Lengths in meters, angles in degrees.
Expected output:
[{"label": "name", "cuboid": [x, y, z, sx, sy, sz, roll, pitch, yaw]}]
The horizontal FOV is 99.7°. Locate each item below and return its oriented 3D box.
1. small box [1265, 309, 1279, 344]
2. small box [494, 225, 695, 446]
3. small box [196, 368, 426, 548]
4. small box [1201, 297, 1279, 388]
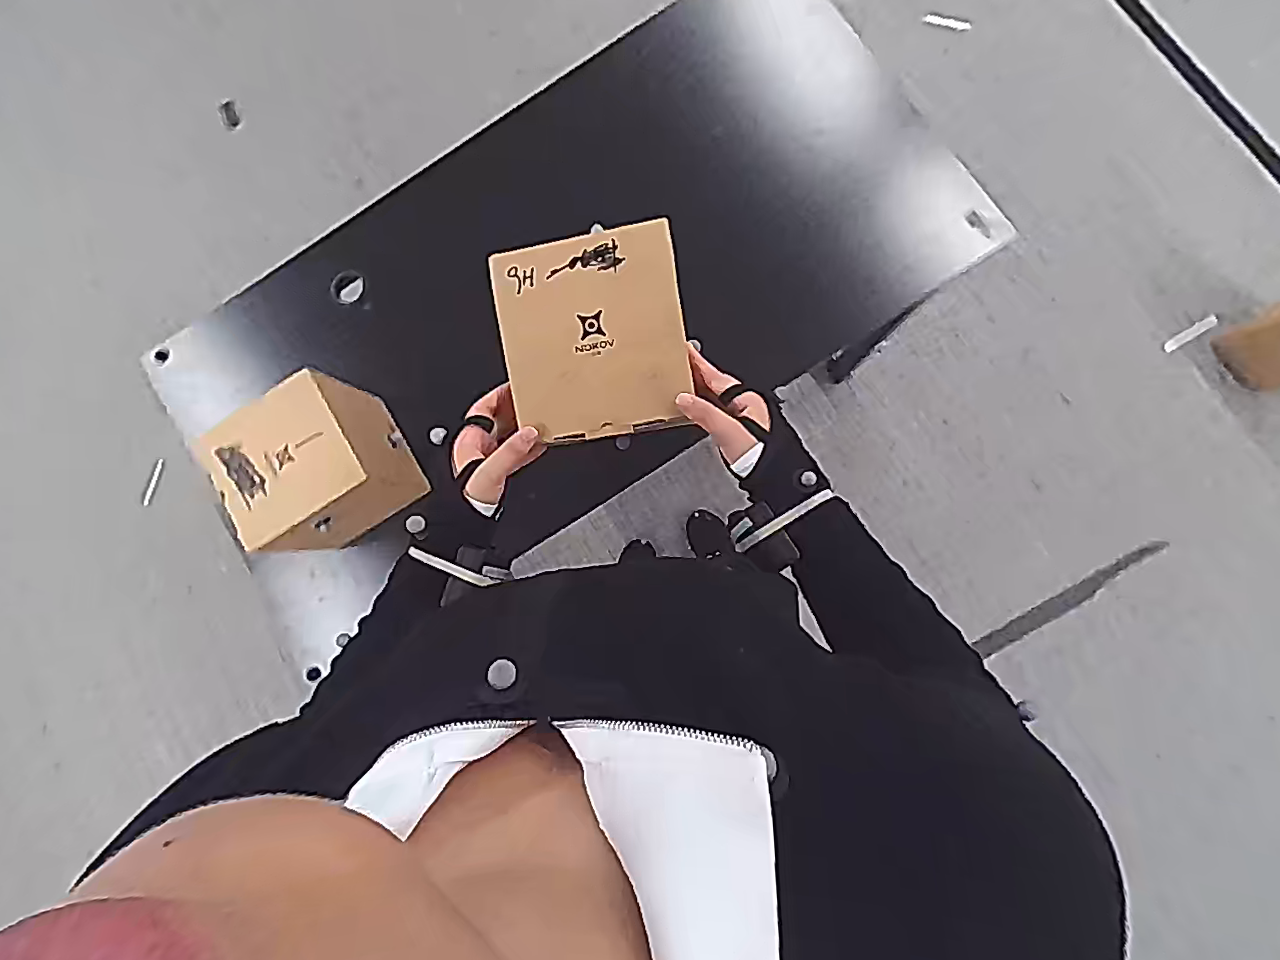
[{"label": "small box", "cuboid": [1.549, -0.358, 1.164, 0.179, 0.176, 0.168, -33, 82, 3]}, {"label": "small box", "cuboid": [-0.033, -0.137, 0.568, 0.168, 0.176, 0.179, -8, 95, 6]}, {"label": "small box", "cuboid": [-0.435, -0.020, 0.742, 0.179, 0.176, 0.168, -32, 83, 1]}, {"label": "small box", "cuboid": [1.569, -0.344, 1.324, 0.168, 0.176, 0.179, -34, 83, 1]}]
